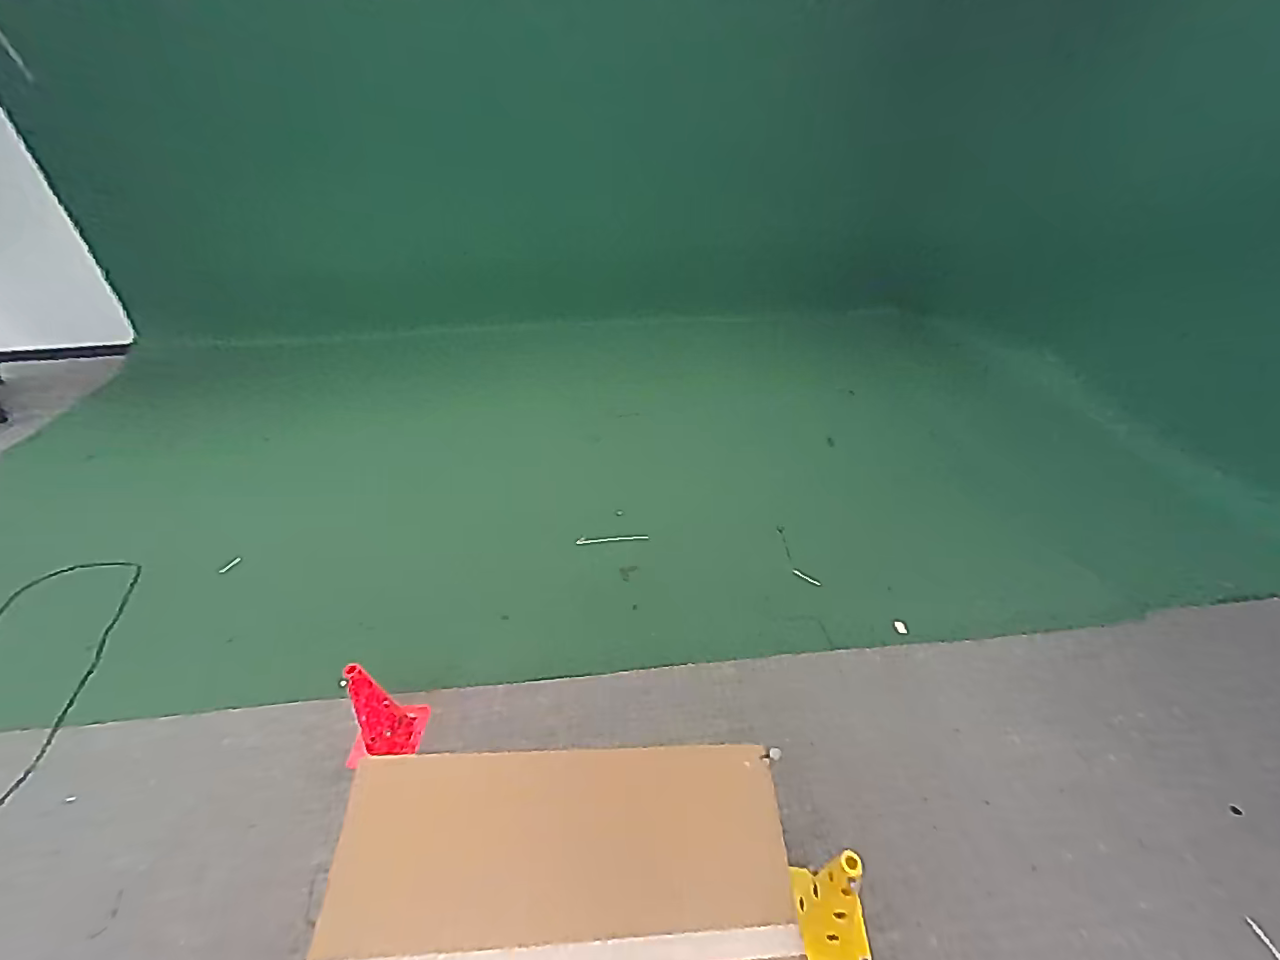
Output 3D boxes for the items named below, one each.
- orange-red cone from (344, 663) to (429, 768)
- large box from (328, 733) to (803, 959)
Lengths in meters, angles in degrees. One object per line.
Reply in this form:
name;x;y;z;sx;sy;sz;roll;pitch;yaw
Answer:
orange-red cone;-0.785;0.658;1.577;0.199;0.360;0.198;-1;36;3
large box;-0.075;0.482;0.576;0.408;0.320;0.320;2;52;-8
